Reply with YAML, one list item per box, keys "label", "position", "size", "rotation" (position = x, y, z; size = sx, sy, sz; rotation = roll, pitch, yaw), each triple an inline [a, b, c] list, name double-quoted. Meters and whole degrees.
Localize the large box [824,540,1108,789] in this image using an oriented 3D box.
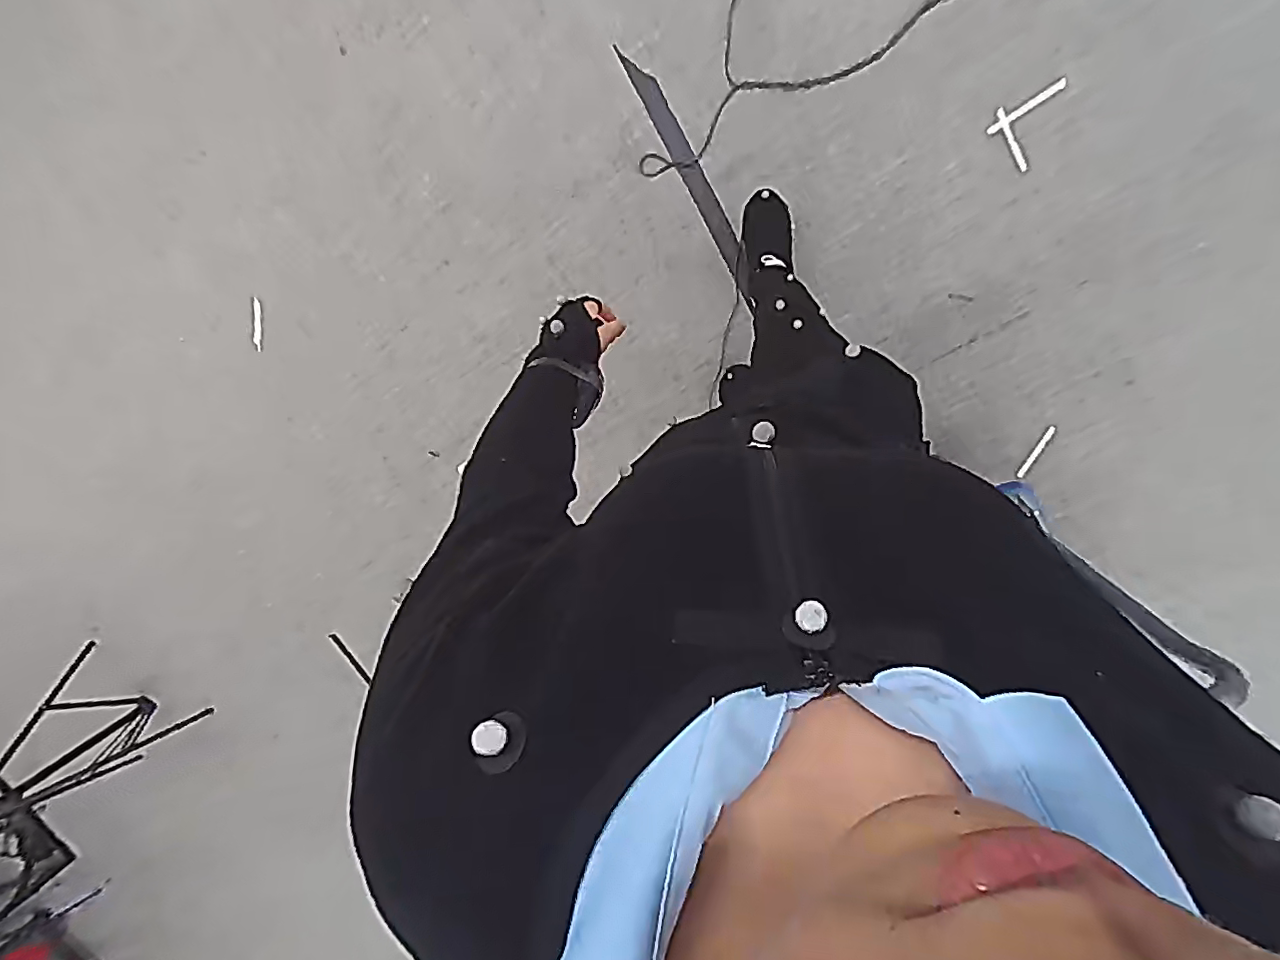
- label: "large box"
  position: [0.677, 0.396, 1.202]
  size: [0.408, 0.320, 0.320]
  rotation: [-30, 98, 21]
